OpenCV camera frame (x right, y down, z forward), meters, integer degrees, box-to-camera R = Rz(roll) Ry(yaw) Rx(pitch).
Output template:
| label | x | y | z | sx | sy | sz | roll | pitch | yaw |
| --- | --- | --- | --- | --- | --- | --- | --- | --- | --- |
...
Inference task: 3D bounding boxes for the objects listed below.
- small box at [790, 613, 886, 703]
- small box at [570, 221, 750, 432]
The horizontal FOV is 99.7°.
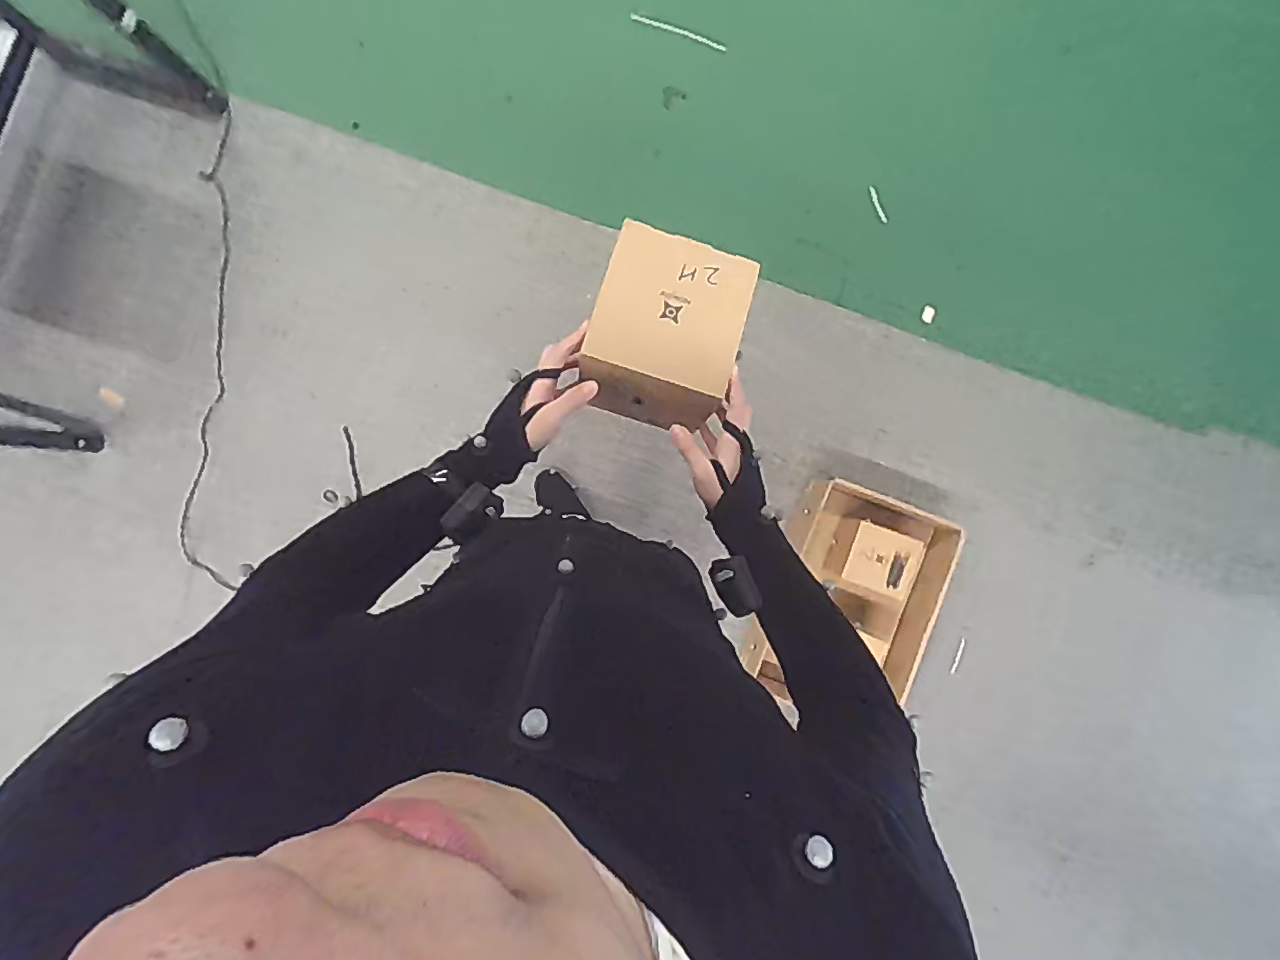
| label | x | y | z | sx | sy | sz | roll | pitch | yaw |
| --- | --- | --- | --- | --- | --- | --- | --- | --- | --- |
| small box | 0.538 | 0.482 | 1.500 | 0.179 | 0.176 | 0.168 | 22 | 88 | 1 |
| small box | 0.018 | -0.176 | 0.678 | 0.168 | 0.176 | 0.179 | 17 | 78 | -4 |
